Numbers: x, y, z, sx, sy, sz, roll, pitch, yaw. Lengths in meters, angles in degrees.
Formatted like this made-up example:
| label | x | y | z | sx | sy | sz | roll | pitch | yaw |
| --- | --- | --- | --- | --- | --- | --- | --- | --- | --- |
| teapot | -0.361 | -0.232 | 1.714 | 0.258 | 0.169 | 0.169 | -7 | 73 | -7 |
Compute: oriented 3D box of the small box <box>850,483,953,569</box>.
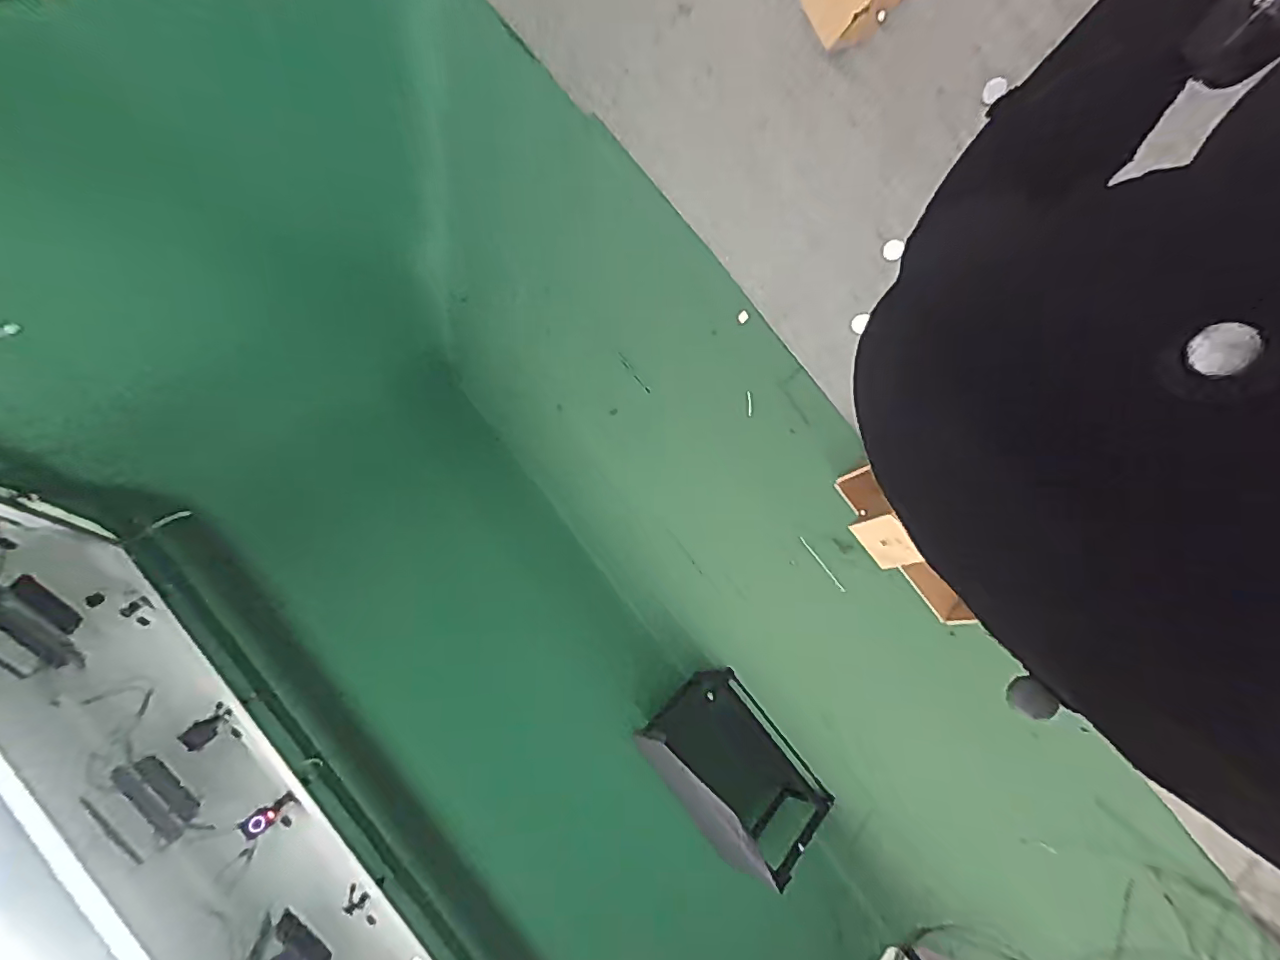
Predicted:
| label | x | y | z | sx | sy | sz | roll | pitch | yaw |
| --- | --- | --- | --- | --- | --- | --- | --- | --- | --- |
| small box | 0.763 | 0.134 | 1.575 | 0.168 | 0.176 | 0.179 | 51 | 152 | 0 |

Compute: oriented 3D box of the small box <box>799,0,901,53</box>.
| label | x | y | z | sx | sy | sz | roll | pitch | yaw |
| --- | --- | --- | --- | --- | --- | --- | --- | --- | --- |
| small box | 0.451 | -1.042 | 1.113 | 0.179 | 0.176 | 0.168 | 56 | 153 | -9 |
